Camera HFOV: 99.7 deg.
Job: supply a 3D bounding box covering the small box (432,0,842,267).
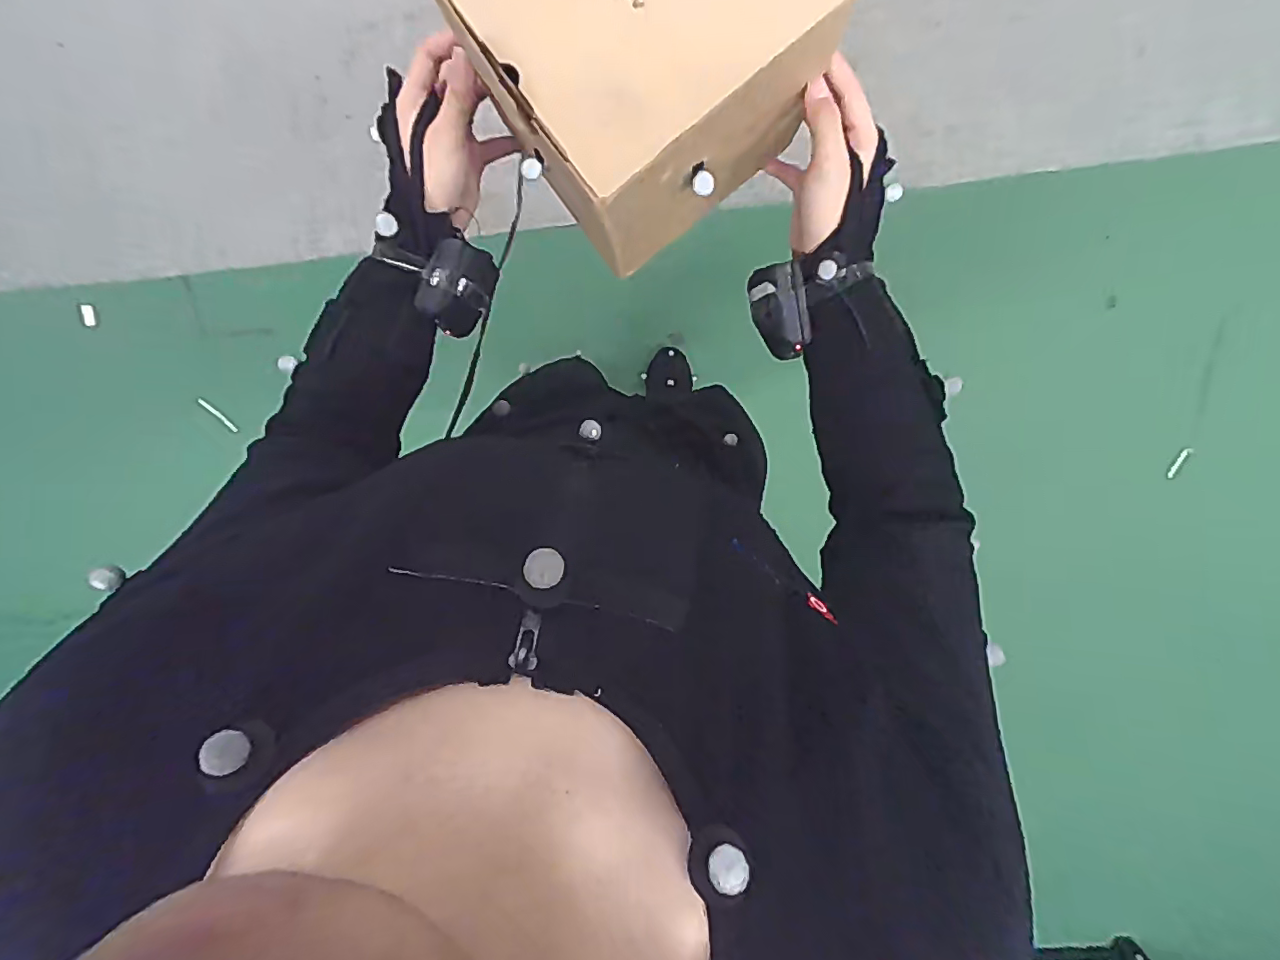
[{"bbox_3d":[0.000,-0.277,0.367,0.179,0.176,0.168,-38,94,7],"label":"small box"}]
